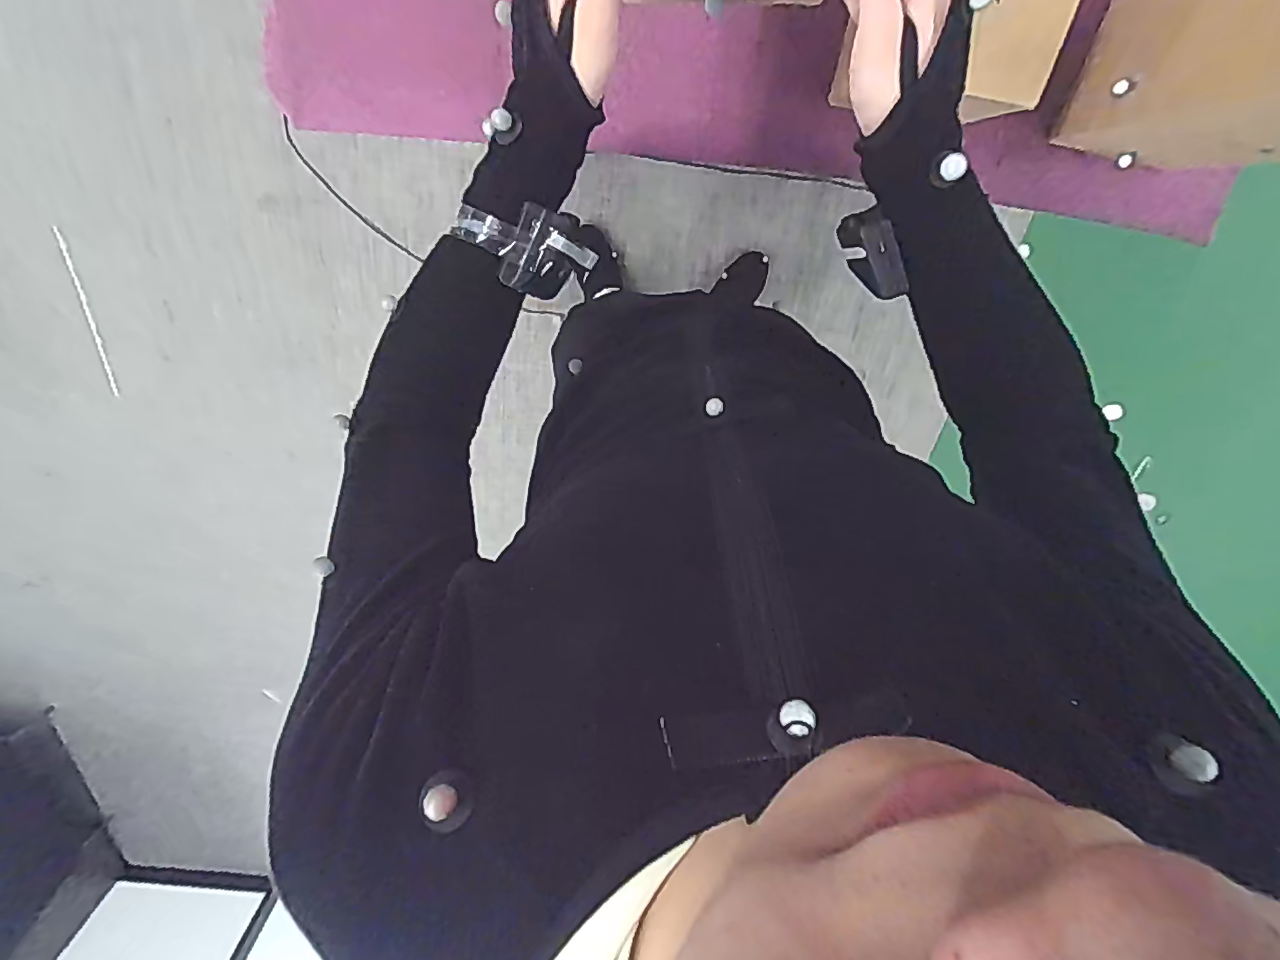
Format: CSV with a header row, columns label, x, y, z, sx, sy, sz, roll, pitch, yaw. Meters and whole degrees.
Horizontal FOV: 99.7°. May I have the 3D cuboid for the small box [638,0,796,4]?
label,x,y,z,sx,sy,sz,roll,pitch,yaw
small box,0.057,-0.433,0.336,0.168,0.176,0.179,4,121,4

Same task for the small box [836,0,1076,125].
label,x,y,z,sx,sy,sz,roll,pitch,yaw
small box,0.322,-0.491,0.562,0.168,0.176,0.179,9,116,-2
